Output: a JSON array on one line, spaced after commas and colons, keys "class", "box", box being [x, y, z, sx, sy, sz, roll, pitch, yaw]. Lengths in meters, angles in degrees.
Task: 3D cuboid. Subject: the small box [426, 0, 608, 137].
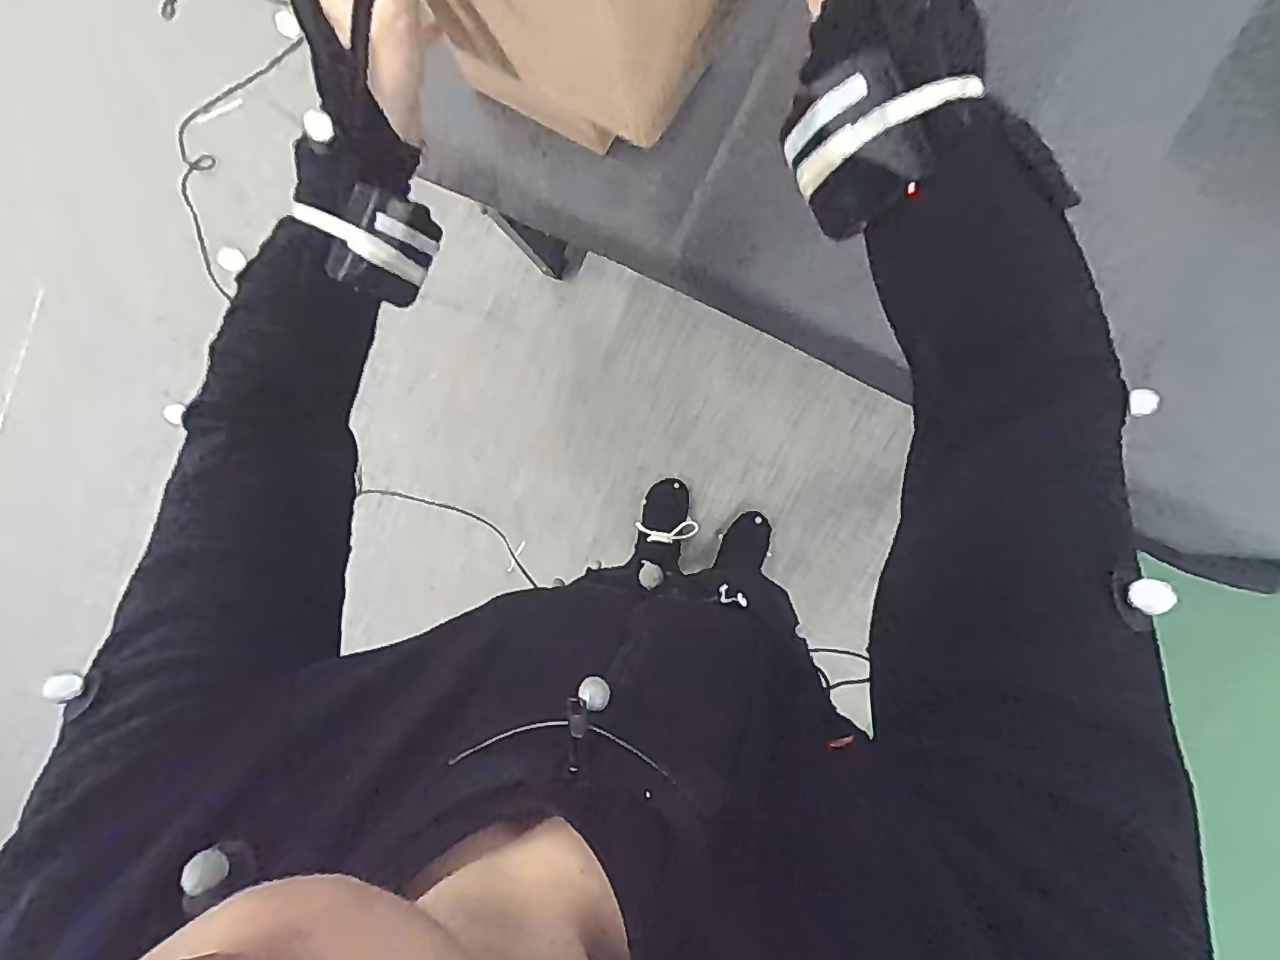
[{"class": "small box", "box": [-0.083, -0.473, 0.517, 0.179, 0.176, 0.168, 29, 95, 2]}]
